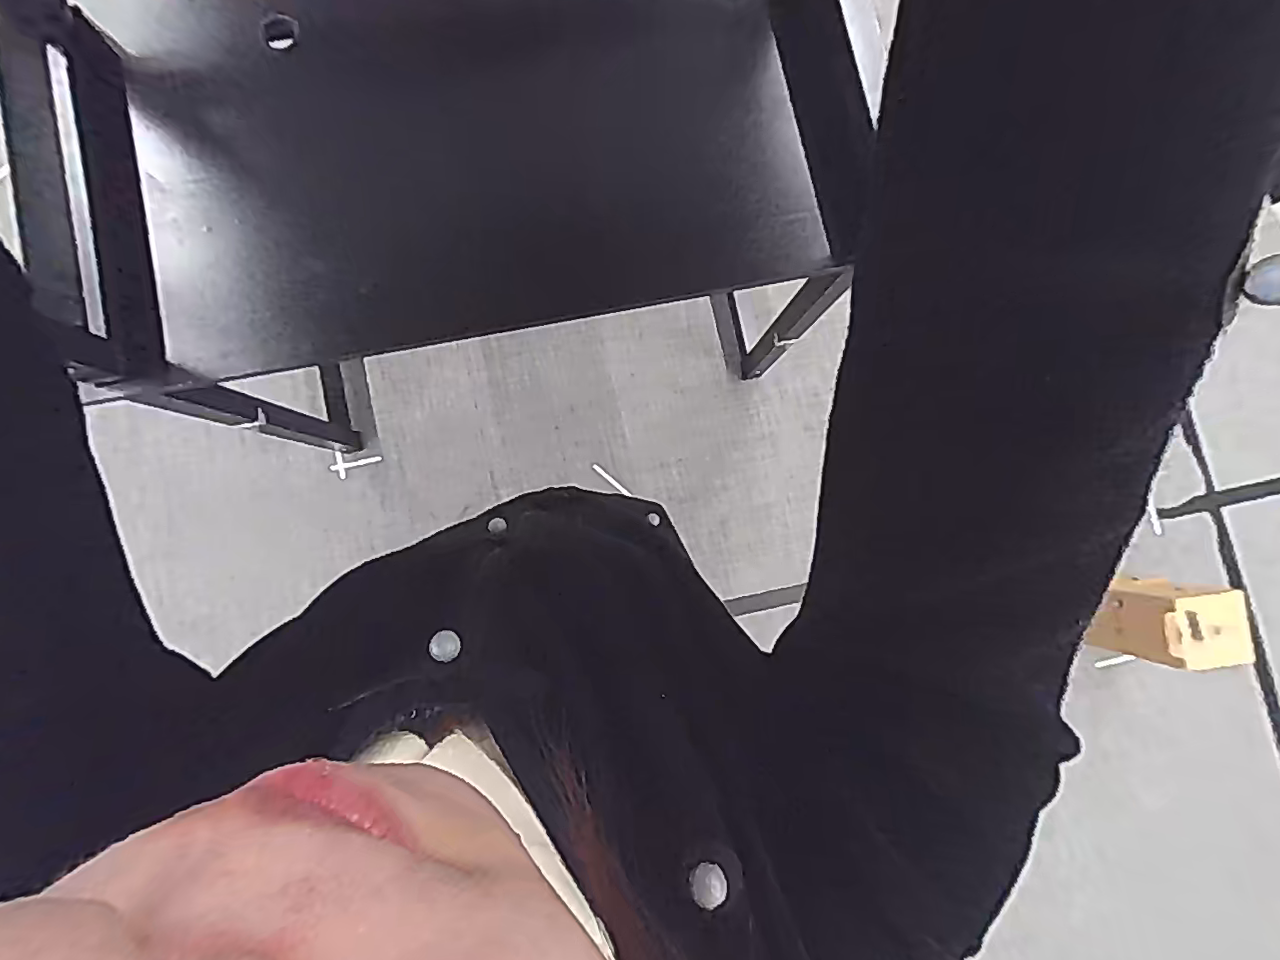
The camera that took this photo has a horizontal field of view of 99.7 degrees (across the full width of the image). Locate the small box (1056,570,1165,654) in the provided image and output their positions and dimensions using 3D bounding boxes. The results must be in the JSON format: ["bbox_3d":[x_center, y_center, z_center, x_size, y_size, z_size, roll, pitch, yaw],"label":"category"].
[{"bbox_3d":[1.296,0.356,1.483,0.168,0.176,0.179,-10,88,-4],"label":"small box"}]

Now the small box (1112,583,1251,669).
[{"bbox_3d":[1.301,0.350,1.317,0.179,0.176,0.168,-5,87,-5],"label":"small box"}]
